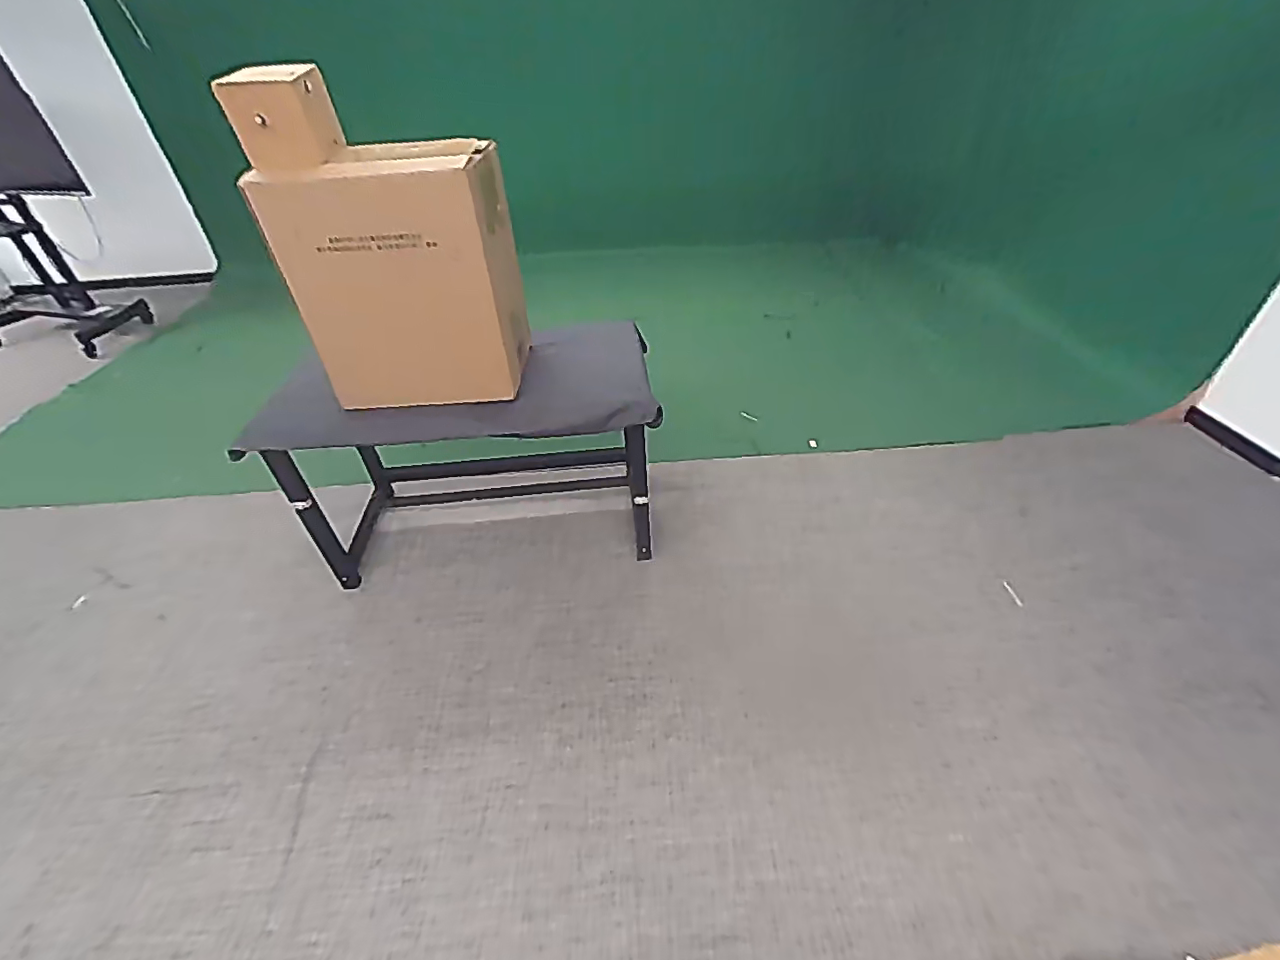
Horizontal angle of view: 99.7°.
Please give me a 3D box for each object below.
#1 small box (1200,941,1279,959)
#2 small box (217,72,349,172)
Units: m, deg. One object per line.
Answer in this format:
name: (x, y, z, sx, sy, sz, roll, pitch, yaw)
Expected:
small box: (0.928, 0.834, 0.805, 0.168, 0.176, 0.179, -8, 37, -6)
small box: (-0.845, -0.858, 1.300, 0.179, 0.176, 0.168, -3, 48, 1)
